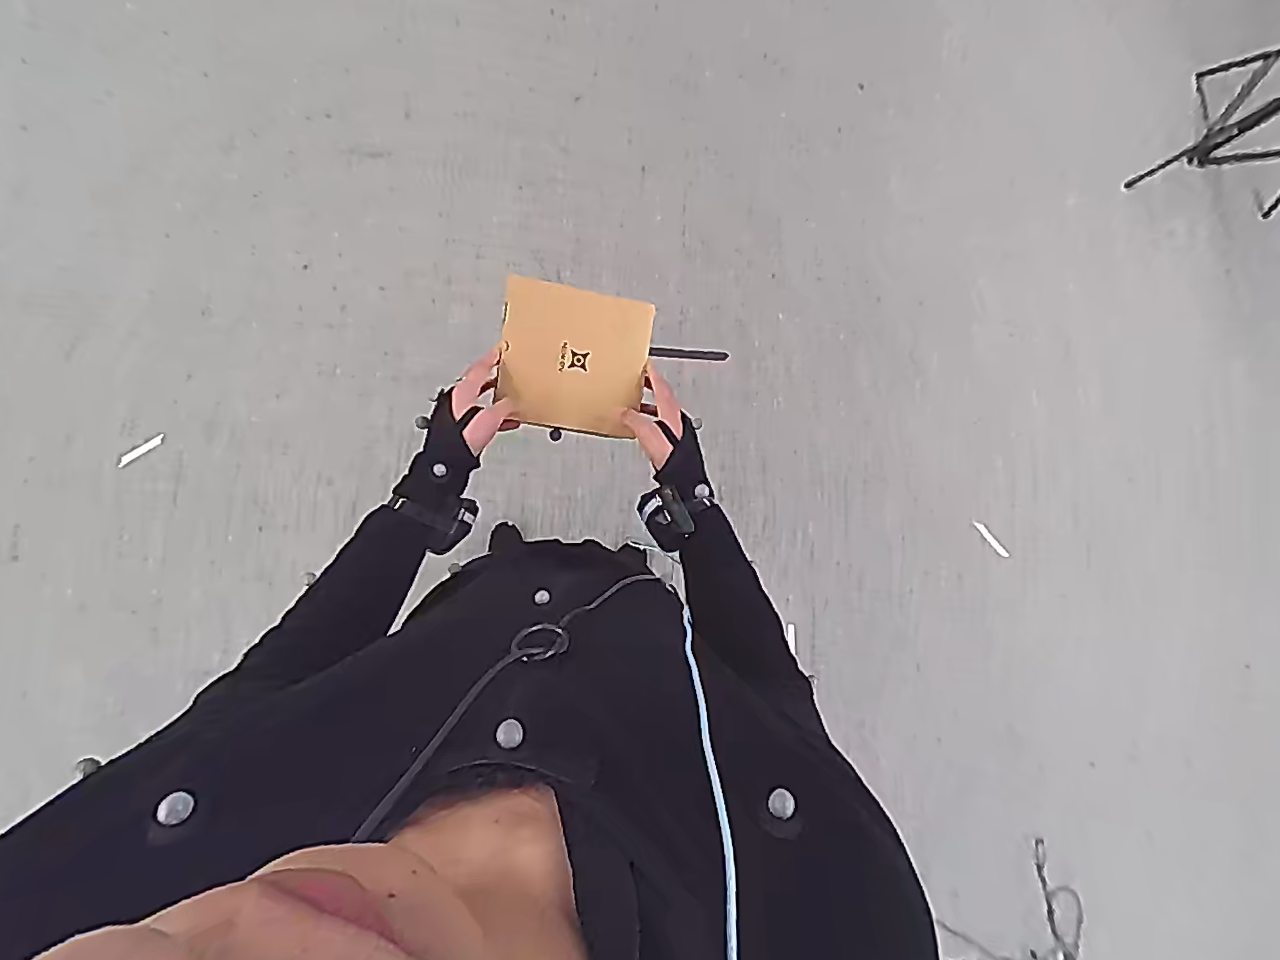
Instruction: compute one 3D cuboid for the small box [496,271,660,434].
[{"bbox_3d":[-0.087,-0.158,0.719,0.179,0.176,0.168,8,95,-11],"label":"small box"}]
